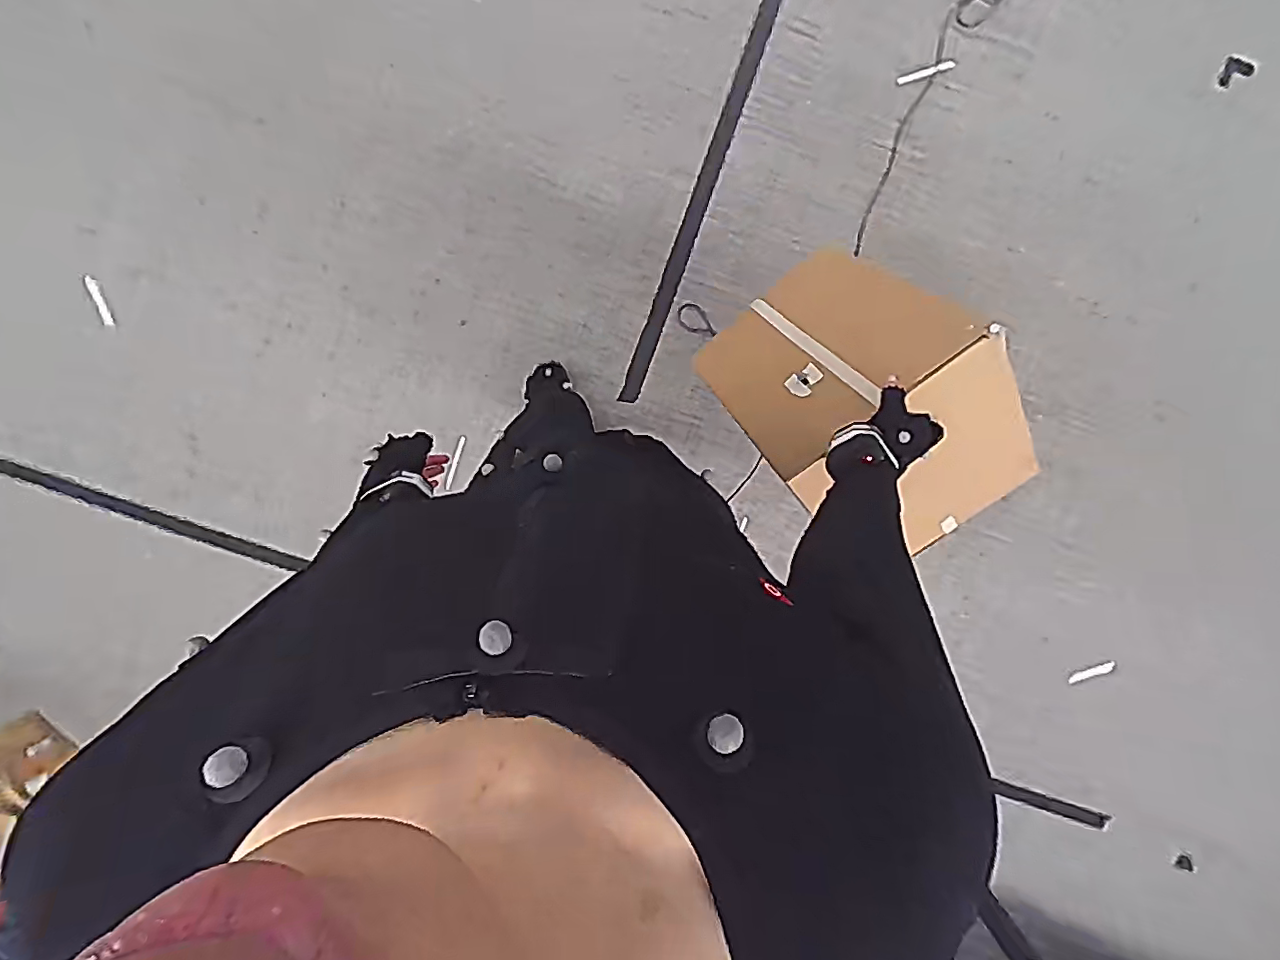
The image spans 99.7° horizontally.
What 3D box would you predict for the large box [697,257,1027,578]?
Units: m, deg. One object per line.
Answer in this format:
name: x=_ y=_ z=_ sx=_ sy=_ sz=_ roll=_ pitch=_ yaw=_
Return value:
large box: x=0.361 y=-0.115 z=0.937 sx=0.320 sy=0.408 sz=0.320 roll=-38 pitch=129 yaw=11
